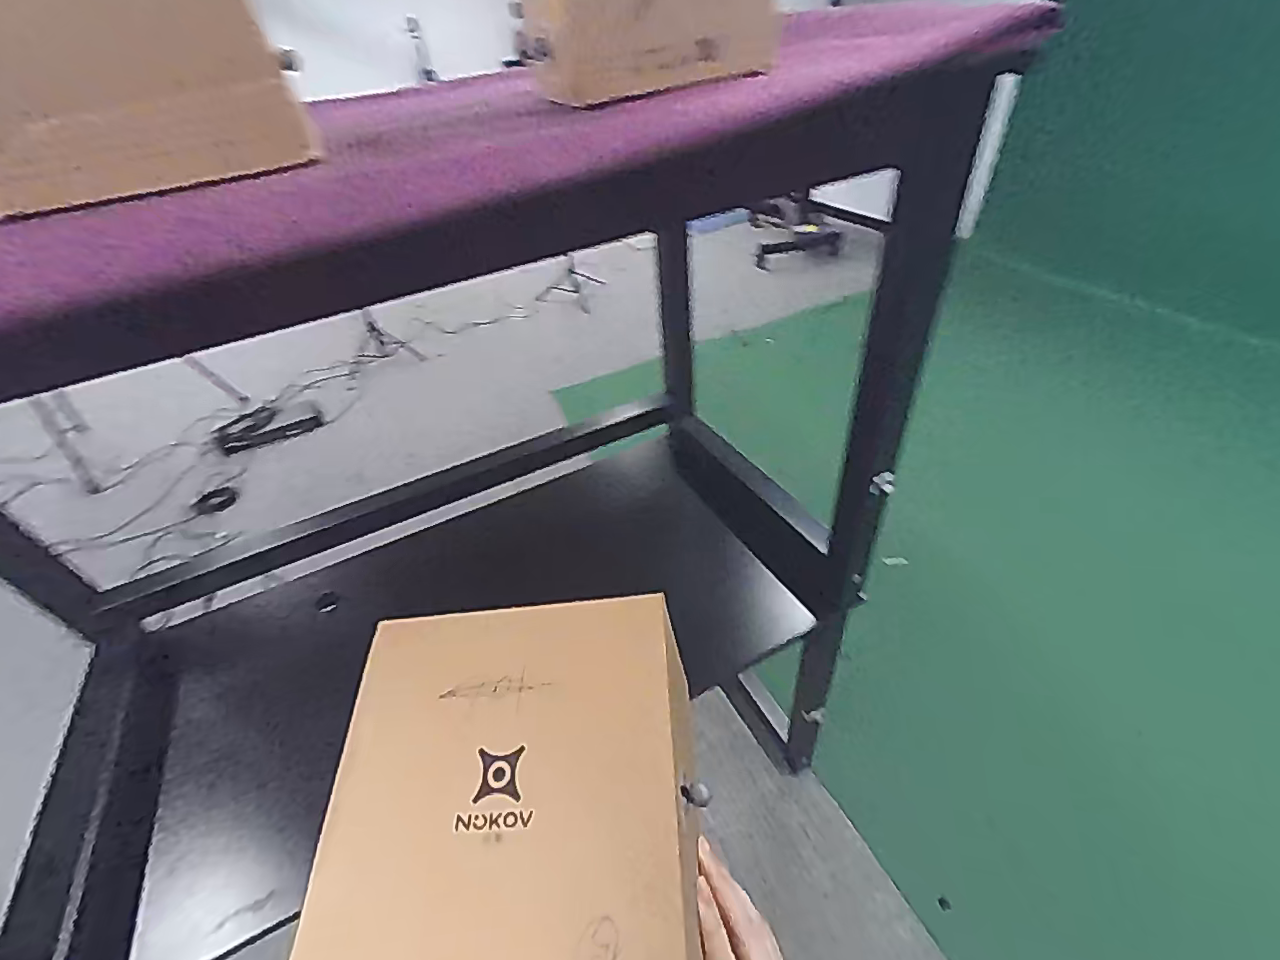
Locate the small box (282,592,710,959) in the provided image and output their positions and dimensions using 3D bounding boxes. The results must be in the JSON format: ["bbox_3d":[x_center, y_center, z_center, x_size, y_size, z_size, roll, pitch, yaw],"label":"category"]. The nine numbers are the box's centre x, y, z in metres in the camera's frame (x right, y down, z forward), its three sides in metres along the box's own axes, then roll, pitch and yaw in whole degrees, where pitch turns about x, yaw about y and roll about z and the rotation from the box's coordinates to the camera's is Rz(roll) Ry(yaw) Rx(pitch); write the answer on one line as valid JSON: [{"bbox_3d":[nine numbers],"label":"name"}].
[{"bbox_3d":[-0.052,0.184,0.306,0.168,0.176,0.179,-6,53,5],"label":"small box"}]

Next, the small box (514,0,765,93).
[{"bbox_3d":[-0.011,-0.417,0.421,0.168,0.176,0.179,-19,41,-10],"label":"small box"}]

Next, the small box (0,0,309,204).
[{"bbox_3d":[-0.330,-0.278,0.319,0.179,0.176,0.168,-22,42,-17],"label":"small box"}]
